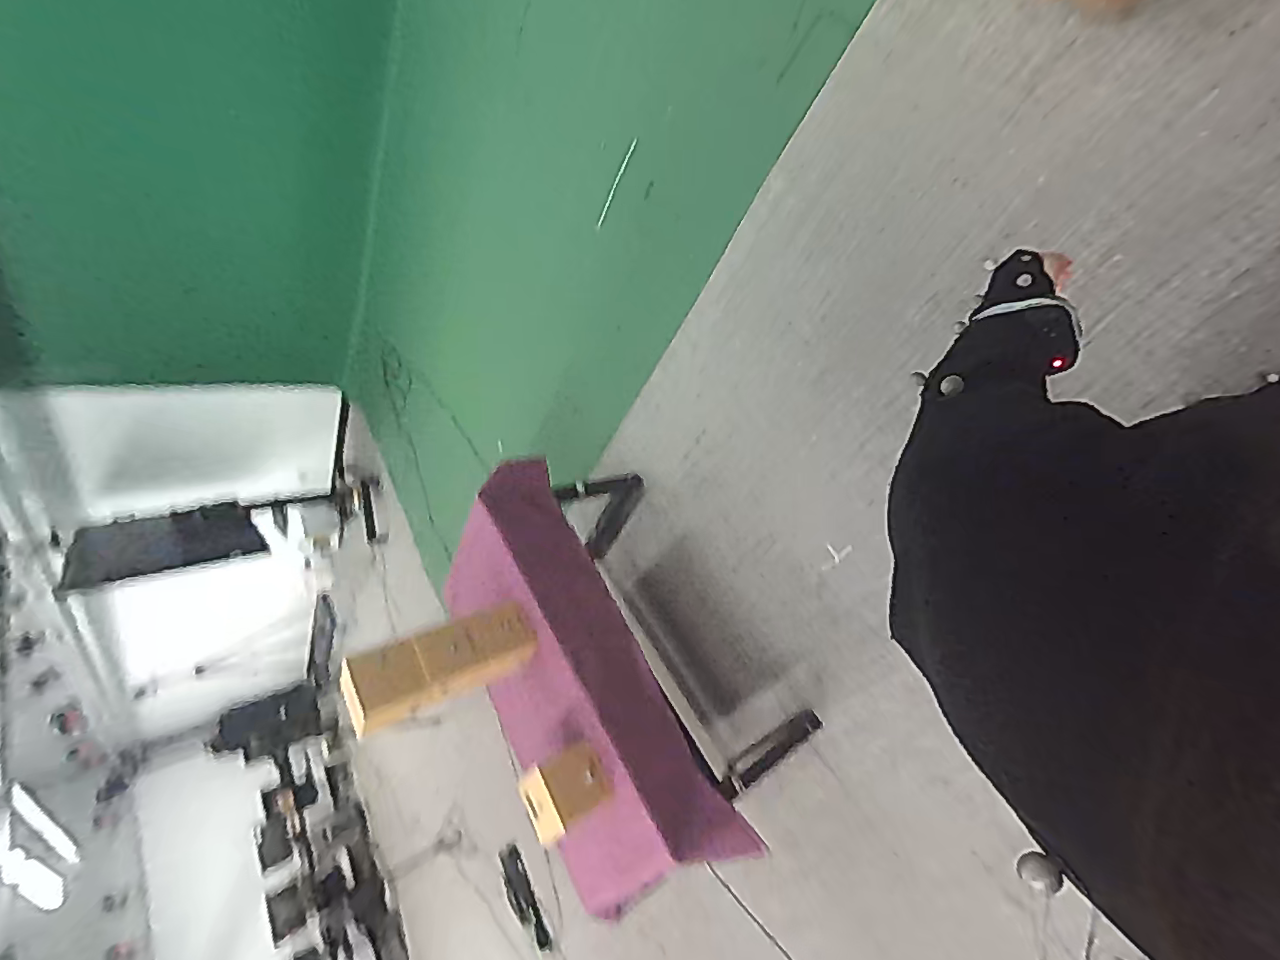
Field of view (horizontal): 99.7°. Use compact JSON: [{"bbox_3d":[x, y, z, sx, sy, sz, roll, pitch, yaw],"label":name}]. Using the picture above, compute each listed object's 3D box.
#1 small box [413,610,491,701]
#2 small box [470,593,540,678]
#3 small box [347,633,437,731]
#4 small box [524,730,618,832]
[{"bbox_3d":[-0.553,0.506,1.572,0.168,0.176,0.179,55,134,25],"label":"small box"},{"bbox_3d":[-0.433,0.478,1.682,0.168,0.176,0.179,55,133,25],"label":"small box"},{"bbox_3d":[-0.674,0.537,1.466,0.179,0.176,0.168,54,134,25],"label":"small box"},{"bbox_3d":[-0.188,0.822,1.483,0.168,0.176,0.179,56,133,24],"label":"small box"}]
